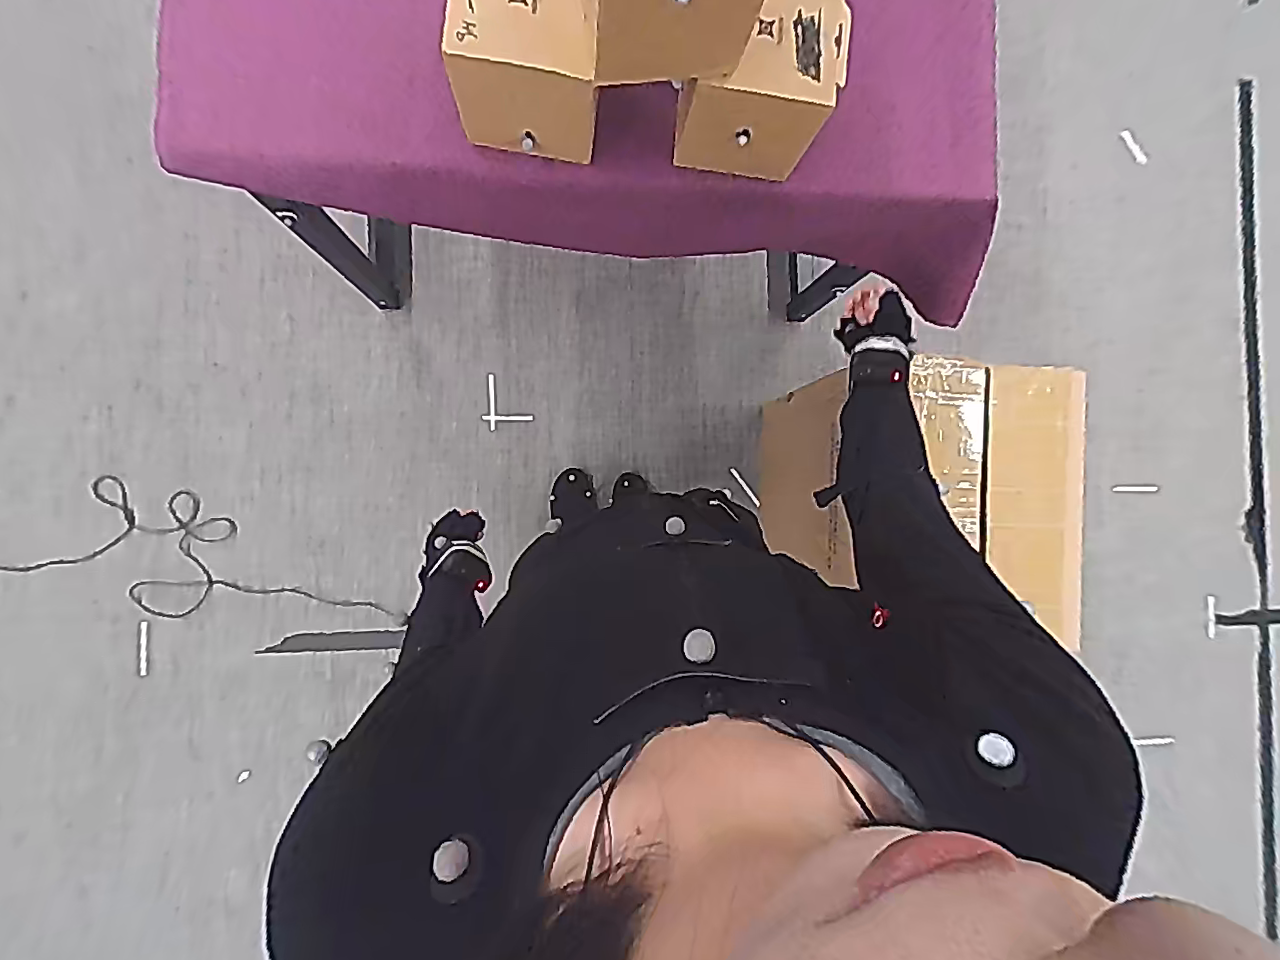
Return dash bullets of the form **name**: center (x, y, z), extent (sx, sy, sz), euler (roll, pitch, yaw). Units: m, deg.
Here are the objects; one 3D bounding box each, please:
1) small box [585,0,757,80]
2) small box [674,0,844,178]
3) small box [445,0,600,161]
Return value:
- **small box**: center (0.028, -0.554, 0.559), extent (0.179, 0.176, 0.168), euler (-10, 91, -7)
- **small box**: center (0.152, -0.543, 0.736), extent (0.179, 0.176, 0.168), euler (5, 88, -6)
- **small box**: center (-0.138, -0.551, 0.703), extent (0.179, 0.176, 0.168), euler (6, 88, -7)
